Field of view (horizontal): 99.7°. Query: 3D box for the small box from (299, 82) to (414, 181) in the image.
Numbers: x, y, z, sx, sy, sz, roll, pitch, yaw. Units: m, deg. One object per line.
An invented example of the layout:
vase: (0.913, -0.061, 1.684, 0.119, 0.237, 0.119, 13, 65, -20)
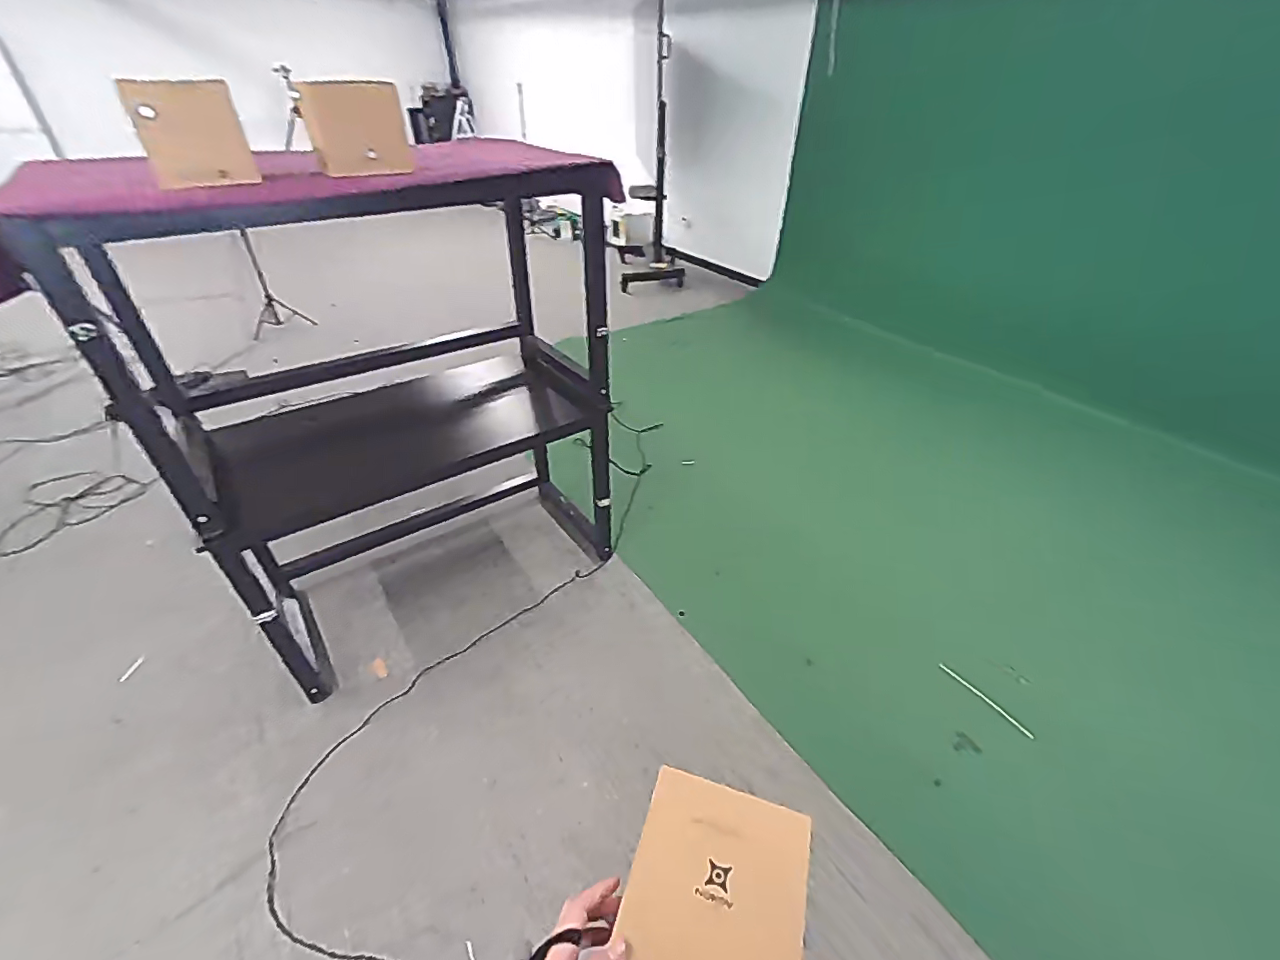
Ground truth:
small box: (-0.613, -0.765, 1.185, 0.179, 0.176, 0.168, -22, 41, -28)

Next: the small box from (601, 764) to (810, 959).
small box: (0.068, 0.441, 0.559, 0.168, 0.176, 0.179, 14, 39, 13)
